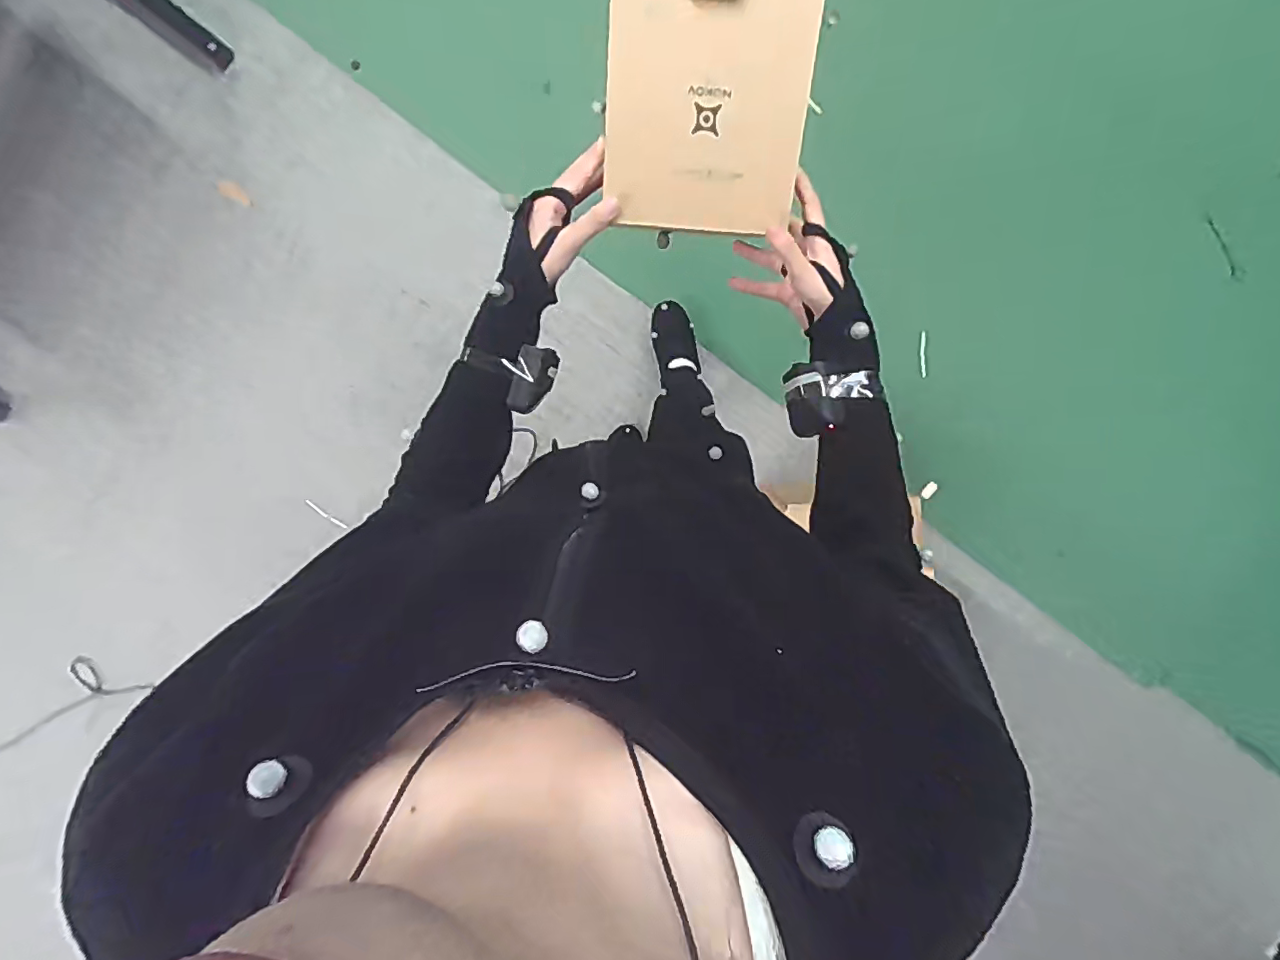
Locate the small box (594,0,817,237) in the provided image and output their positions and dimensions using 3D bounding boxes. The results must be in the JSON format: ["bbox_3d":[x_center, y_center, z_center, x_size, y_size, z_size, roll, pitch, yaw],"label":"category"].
[{"bbox_3d":[0.044,-0.331,0.506,0.168,0.176,0.179,3,114,-3],"label":"small box"}]

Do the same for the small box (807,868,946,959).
[{"bbox_3d":[0.405,0.833,0.944,0.168,0.176,0.179,8,97,-2],"label":"small box"}]
